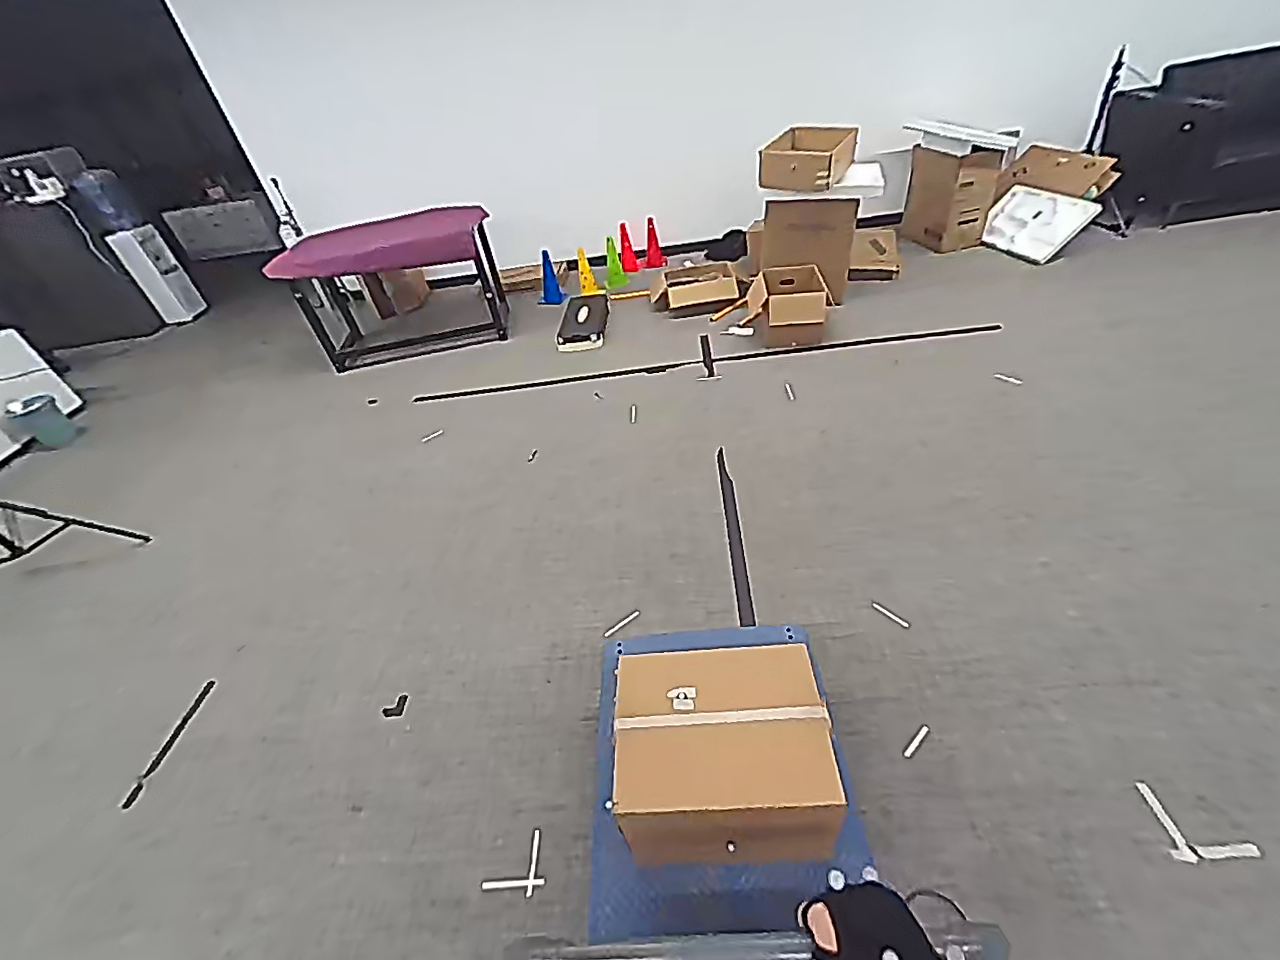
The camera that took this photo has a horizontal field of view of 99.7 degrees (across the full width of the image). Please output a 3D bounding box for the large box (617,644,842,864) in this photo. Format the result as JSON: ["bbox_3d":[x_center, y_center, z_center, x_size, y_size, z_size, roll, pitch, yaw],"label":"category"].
[{"bbox_3d":[0.177,0.588,1.157,0.408,0.320,0.320,-7,39,6],"label":"large box"}]
